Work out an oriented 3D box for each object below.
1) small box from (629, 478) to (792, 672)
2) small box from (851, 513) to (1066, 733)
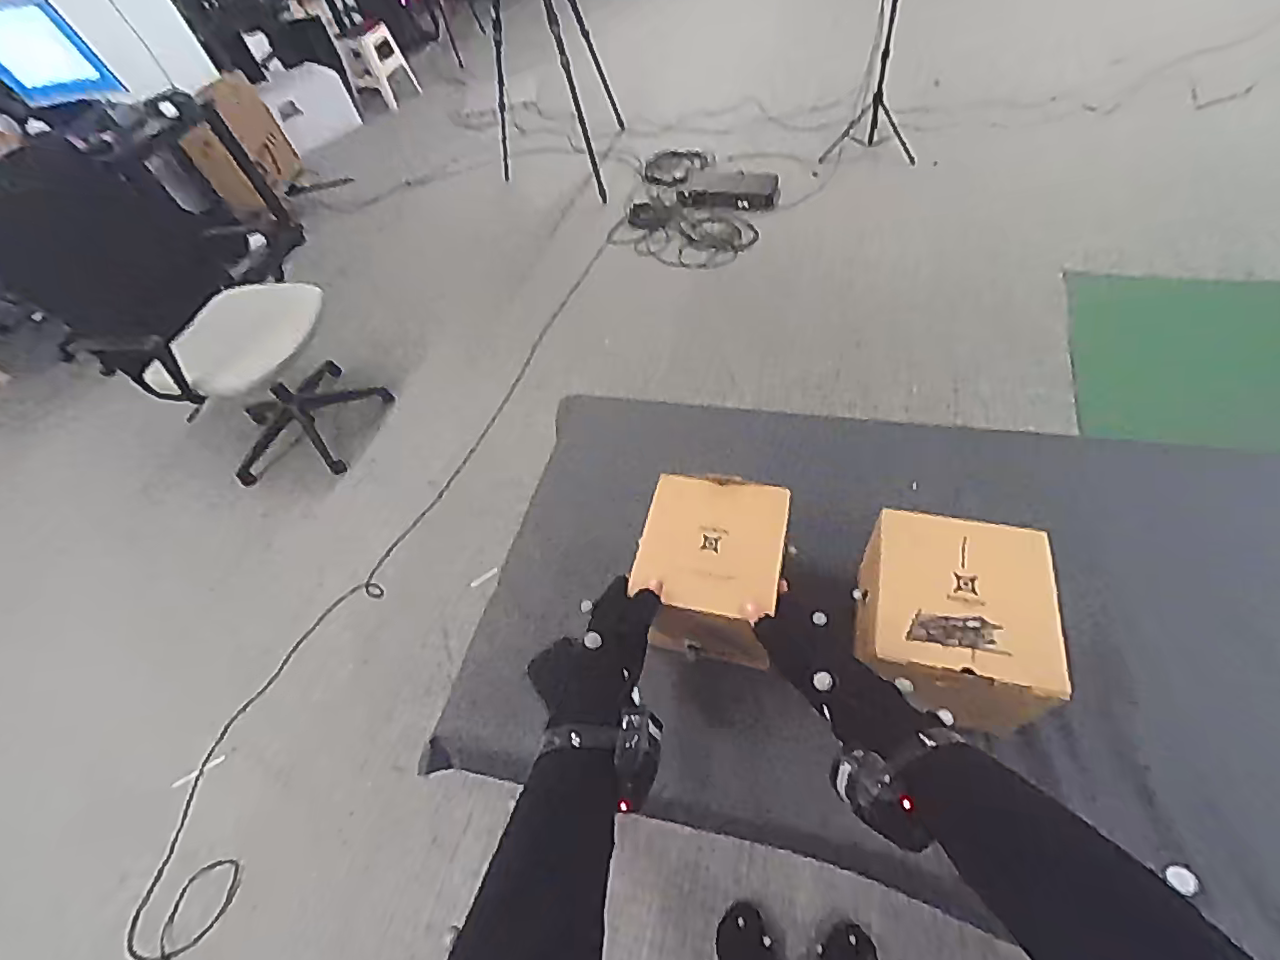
[{"bbox_3d":[0.097,0.123,0.693,0.168,0.176,0.179,6,57,17],"label":"small box"},{"bbox_3d":[0.341,0.165,0.612,0.168,0.176,0.179,9,56,17],"label":"small box"}]
